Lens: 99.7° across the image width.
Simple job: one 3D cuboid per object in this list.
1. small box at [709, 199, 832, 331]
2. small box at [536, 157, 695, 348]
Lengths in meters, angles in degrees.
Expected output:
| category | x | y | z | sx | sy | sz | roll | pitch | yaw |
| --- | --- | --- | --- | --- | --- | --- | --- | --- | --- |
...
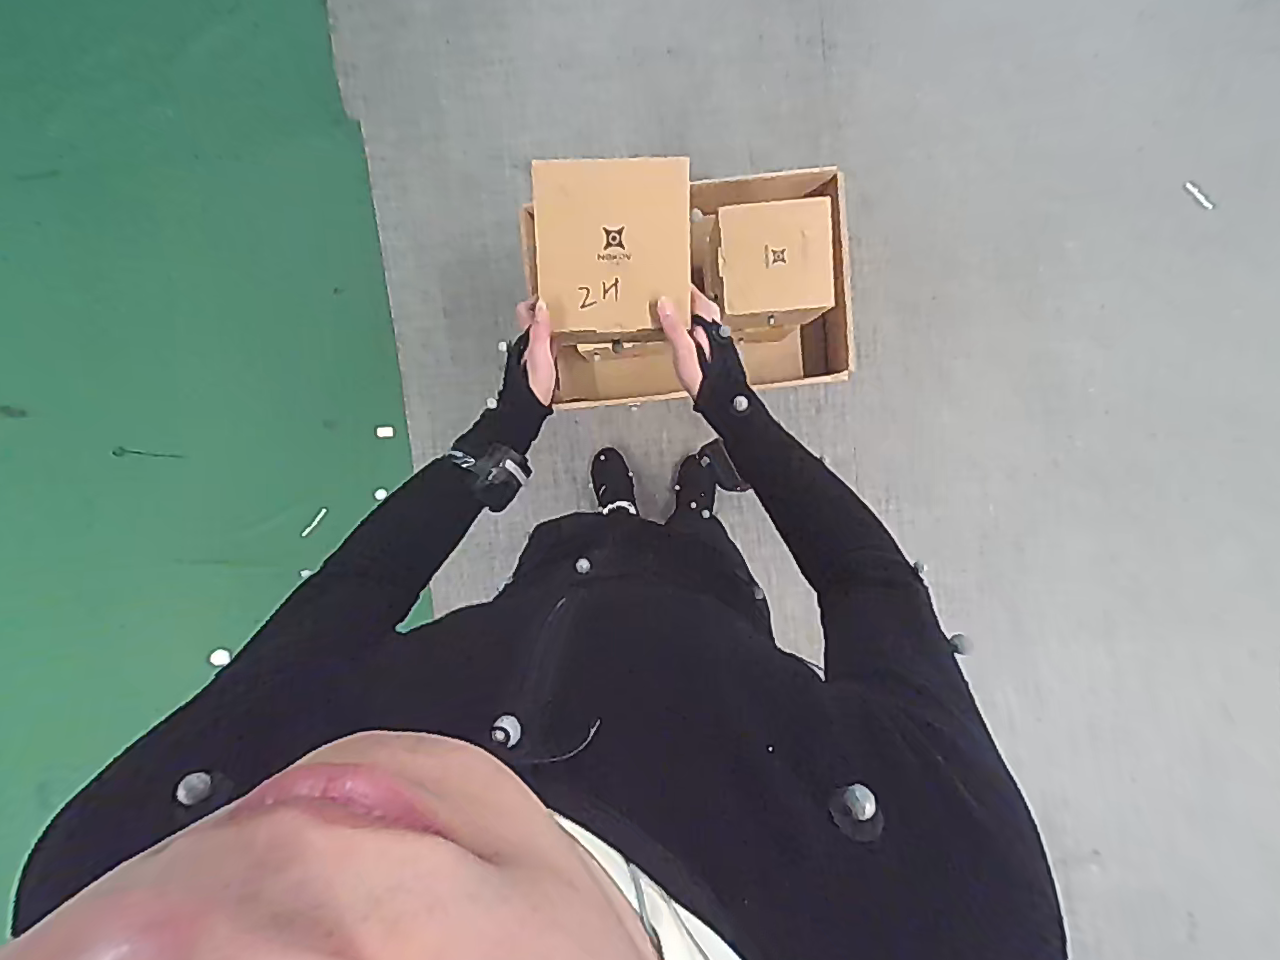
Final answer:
| category | x | y | z | sx | sy | sz | roll | pitch | yaw |
| --- | --- | --- | --- | --- | --- | --- | --- | --- | --- |
| small box | 0.211 | -0.352 | 0.916 | 0.179 | 0.176 | 0.168 | -4 | 97 | 2 |
| small box | -0.026 | -0.255 | 0.642 | 0.168 | 0.176 | 0.179 | -2 | 100 | 0 |
